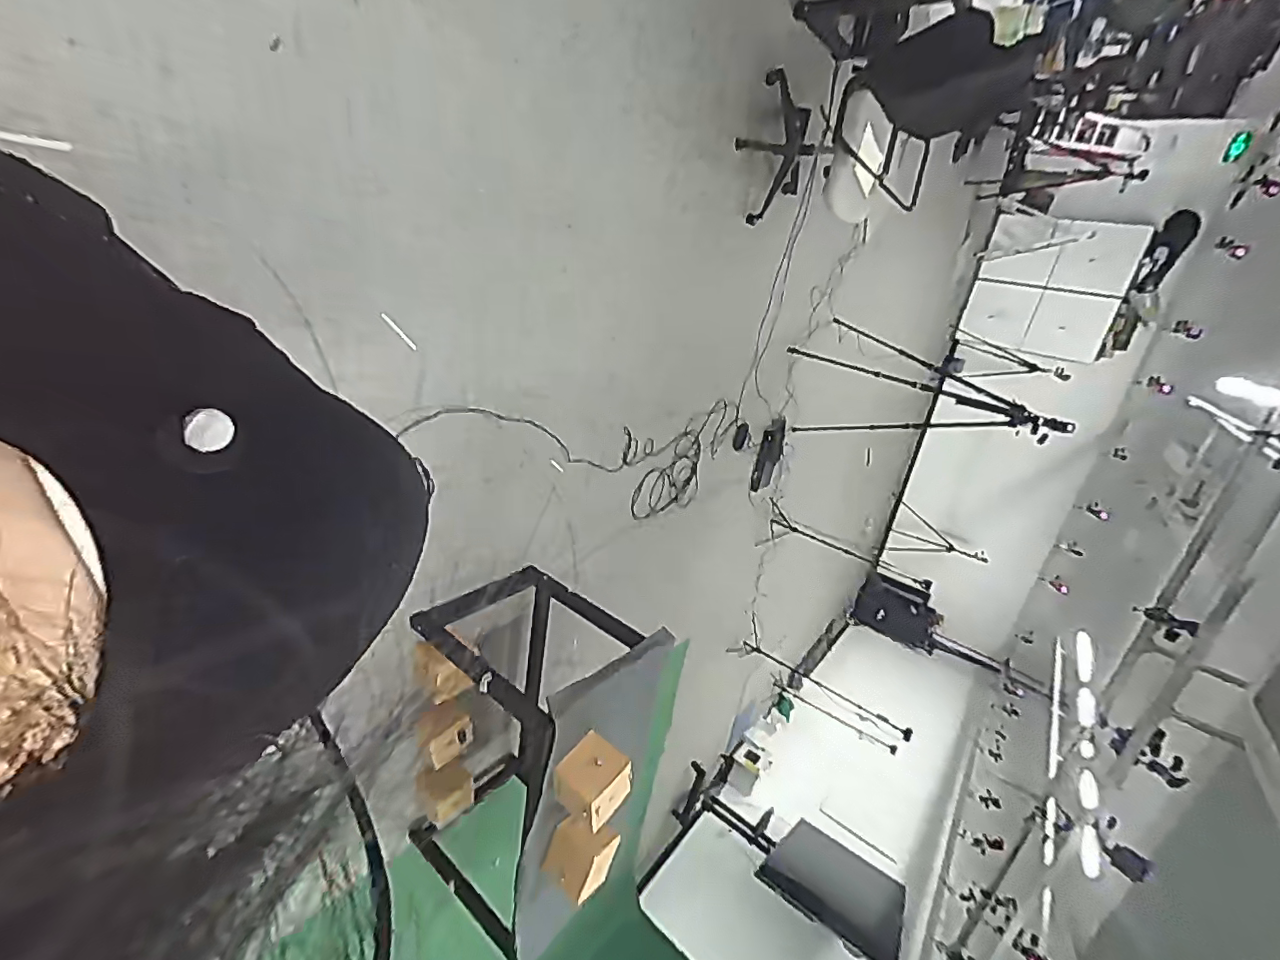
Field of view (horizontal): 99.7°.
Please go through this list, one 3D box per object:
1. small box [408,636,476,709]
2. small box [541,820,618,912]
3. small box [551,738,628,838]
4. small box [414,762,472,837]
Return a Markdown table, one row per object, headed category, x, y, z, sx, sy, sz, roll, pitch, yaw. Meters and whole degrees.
| category | x | y | z | sx | sy | sz | roll | pitch | yaw |
| --- | --- | --- | --- | --- | --- | --- | --- | --- | --- |
| small box | -0.752 | 0.722 | 2.044 | 0.179 | 0.176 | 0.168 | -12 | 119 | -53 |
| small box | -0.206 | 1.268 | 1.809 | 0.168 | 0.176 | 0.179 | 14 | 96 | -61 |
| small box | -0.157 | 0.948 | 1.682 | 0.179 | 0.176 | 0.168 | -32 | 134 | -43 |
| small box | -0.840 | 1.349 | 2.293 | 0.179 | 0.176 | 0.168 | -24 | 128 | -48 |
